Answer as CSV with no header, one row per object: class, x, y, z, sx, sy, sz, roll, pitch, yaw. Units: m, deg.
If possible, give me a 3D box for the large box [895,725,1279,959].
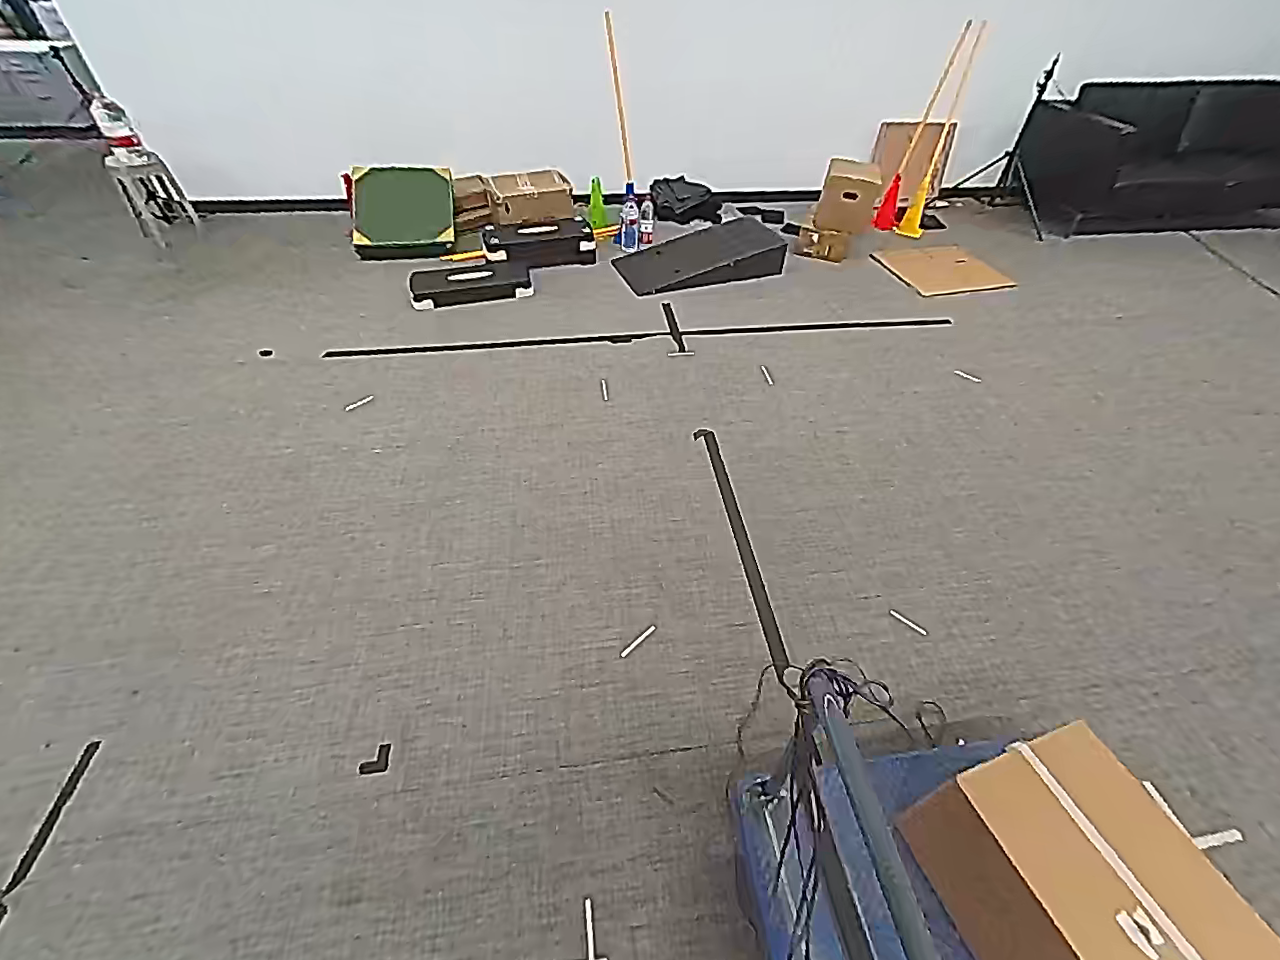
large box,0.757,0.735,0.971,0.320,0.320,0.408,-14,48,-14
